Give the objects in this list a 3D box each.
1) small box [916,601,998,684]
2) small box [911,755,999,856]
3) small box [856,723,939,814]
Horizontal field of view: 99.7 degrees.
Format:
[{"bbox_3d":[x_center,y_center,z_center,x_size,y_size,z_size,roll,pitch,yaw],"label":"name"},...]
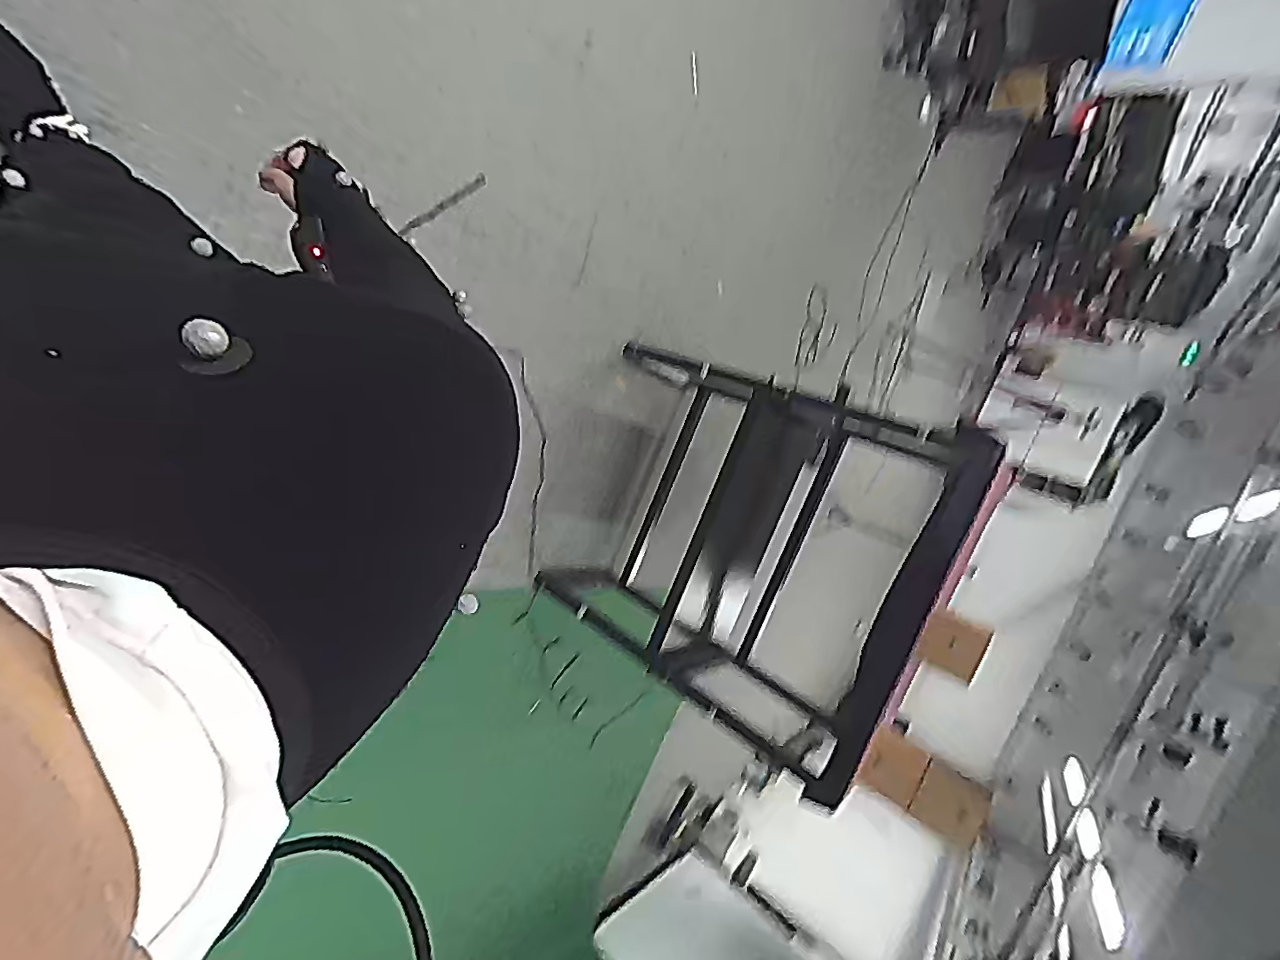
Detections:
[{"bbox_3d":[0.952,0.485,1.632,0.168,0.176,0.179,15,97,-55],"label":"small box"},{"bbox_3d":[0.919,0.935,1.579,0.168,0.176,0.179,15,98,-53],"label":"small box"},{"bbox_3d":[0.800,0.886,1.683,0.179,0.176,0.168,15,98,-53],"label":"small box"}]
